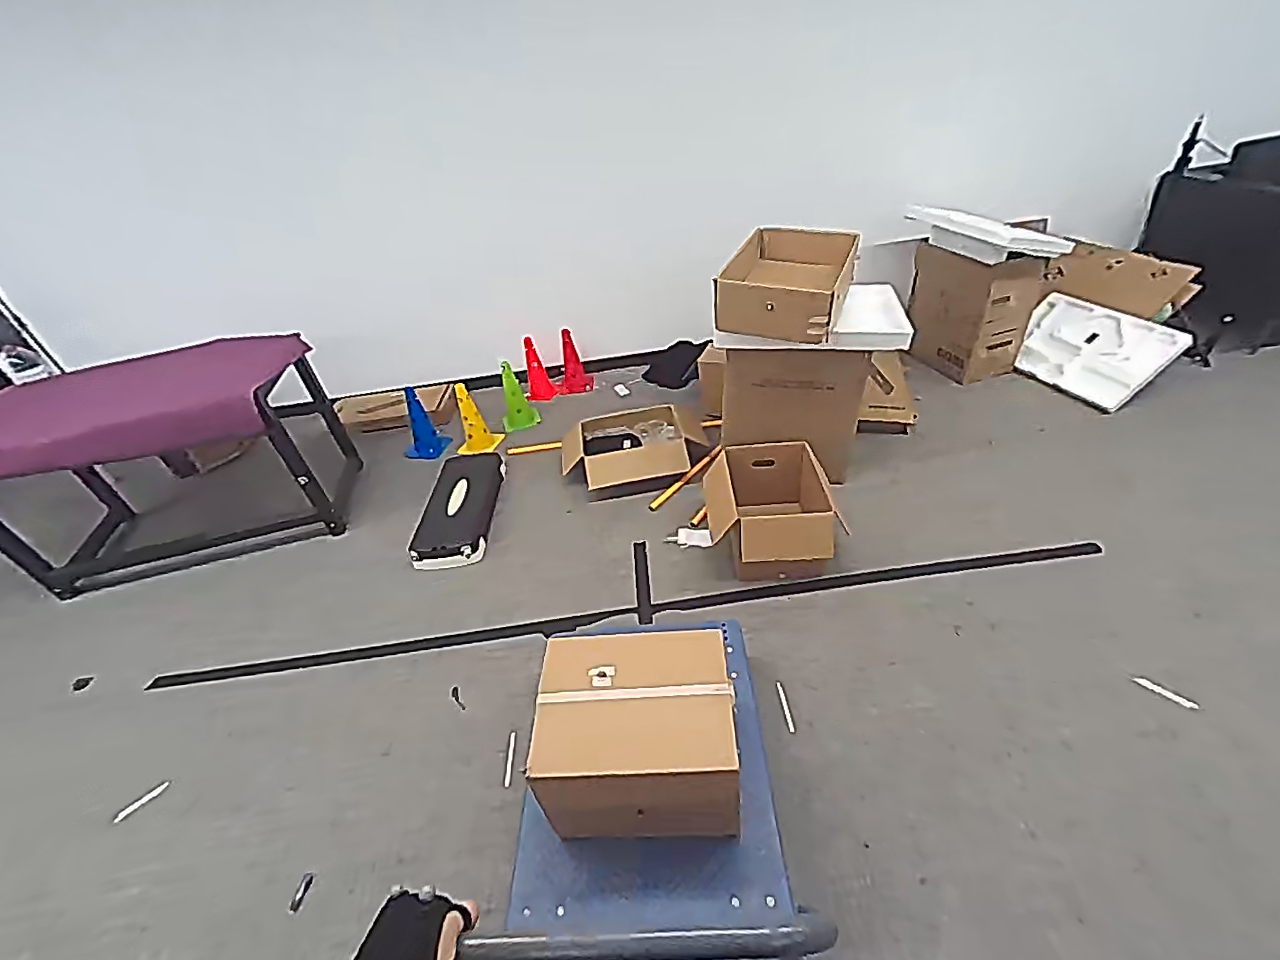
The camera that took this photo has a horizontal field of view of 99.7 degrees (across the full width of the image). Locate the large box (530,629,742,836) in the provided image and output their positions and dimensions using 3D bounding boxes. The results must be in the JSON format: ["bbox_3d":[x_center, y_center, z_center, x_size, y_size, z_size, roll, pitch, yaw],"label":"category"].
[{"bbox_3d":[0.006,0.571,1.224,0.408,0.320,0.320,-6,37,5],"label":"large box"}]
